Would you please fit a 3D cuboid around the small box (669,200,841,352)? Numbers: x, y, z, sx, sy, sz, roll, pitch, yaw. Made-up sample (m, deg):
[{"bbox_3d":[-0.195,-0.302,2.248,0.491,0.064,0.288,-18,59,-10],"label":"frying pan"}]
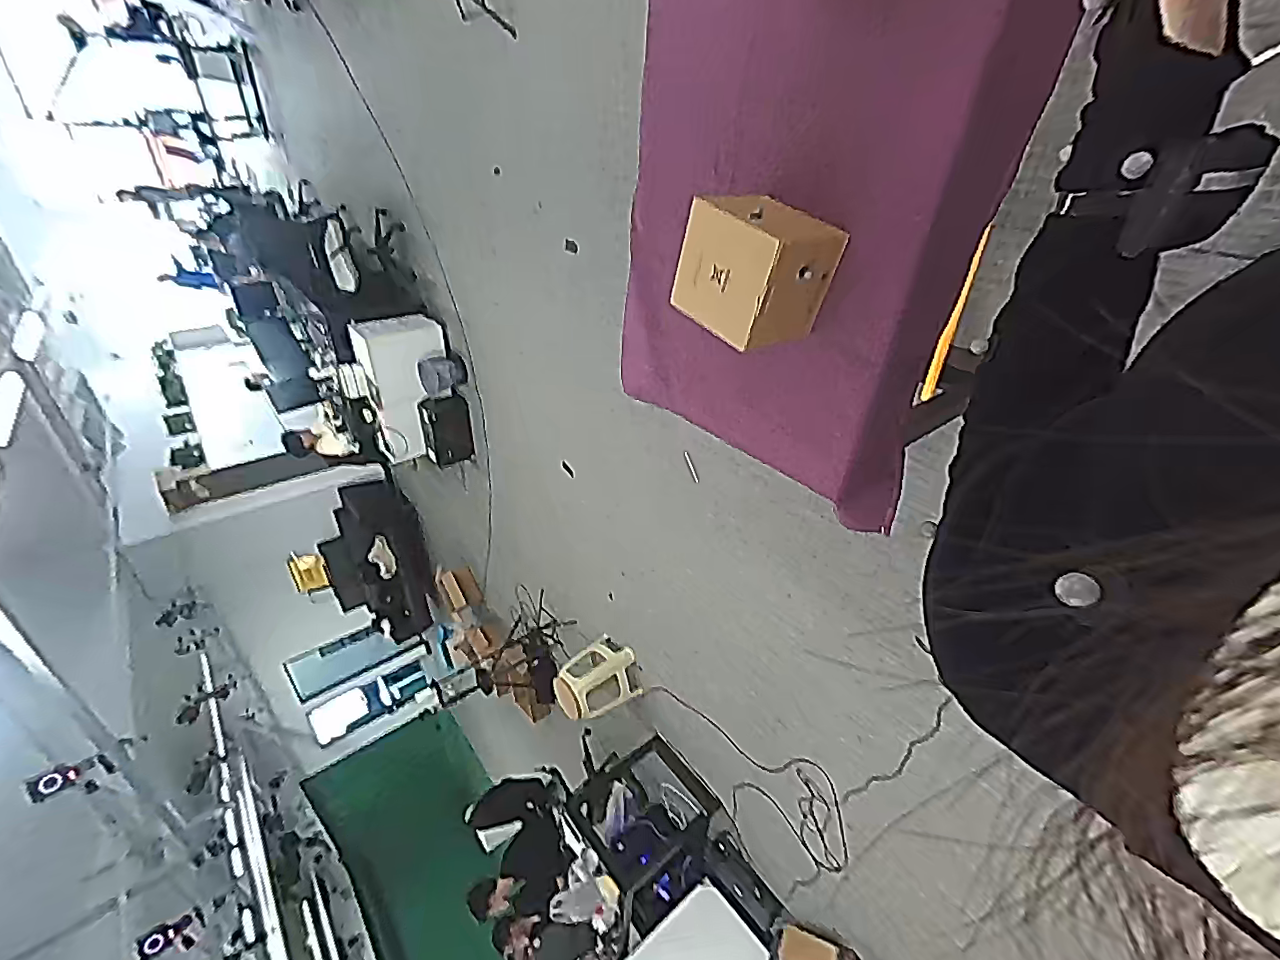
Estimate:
[{"bbox_3d":[0.177,-0.326,0.846,0.179,0.176,0.168,45,139,30],"label":"small box"}]
